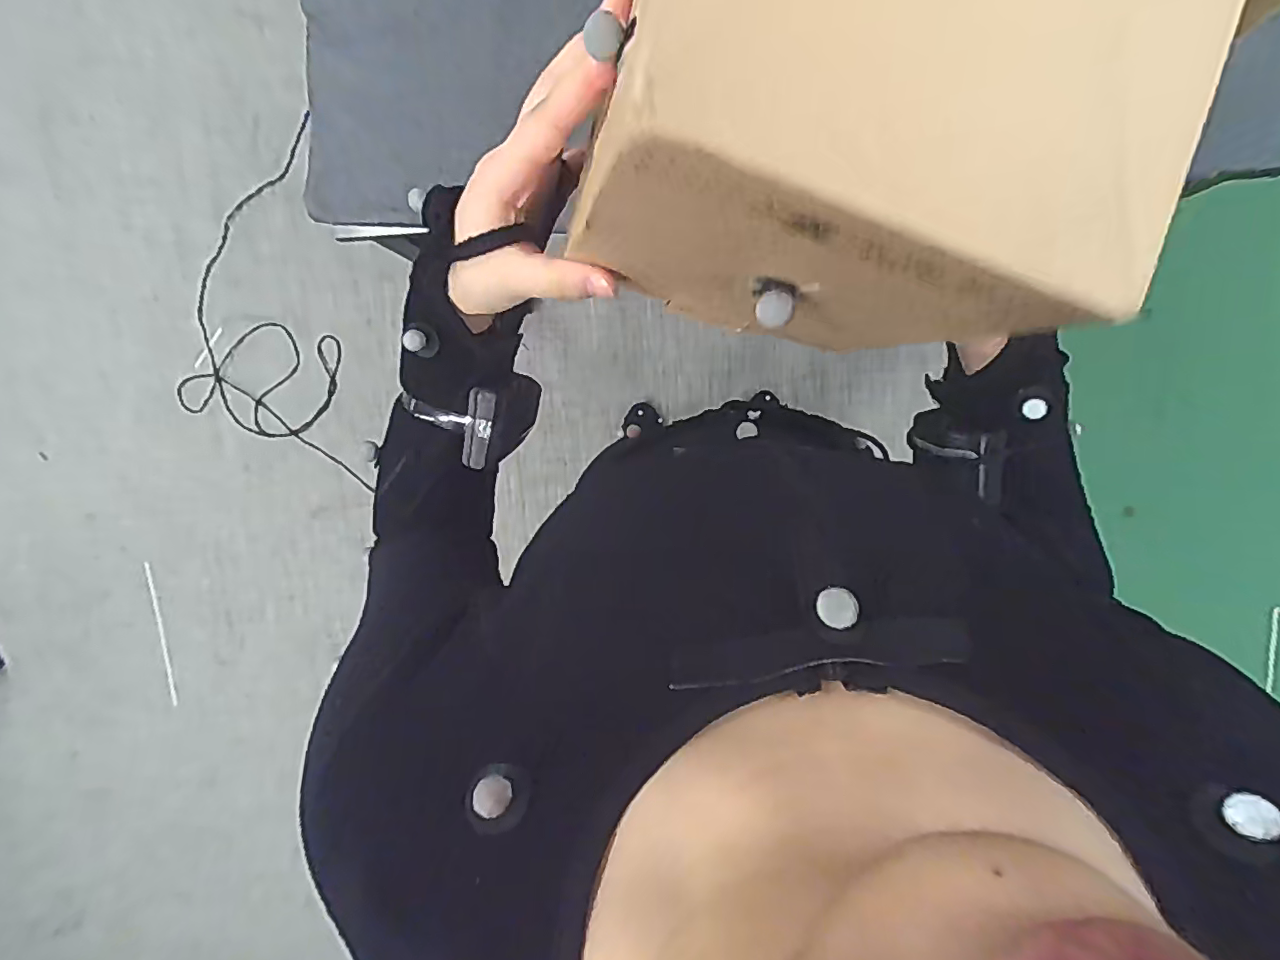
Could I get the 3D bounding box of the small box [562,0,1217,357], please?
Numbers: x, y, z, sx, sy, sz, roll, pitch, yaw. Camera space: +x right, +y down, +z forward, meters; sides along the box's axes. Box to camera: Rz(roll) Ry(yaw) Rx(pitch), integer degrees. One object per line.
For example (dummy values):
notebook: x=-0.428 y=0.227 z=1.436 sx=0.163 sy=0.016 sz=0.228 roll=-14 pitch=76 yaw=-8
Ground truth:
small box: x=0.073 y=-0.158 z=0.211 sx=0.168 sy=0.176 sz=0.179 roll=12 pitch=97 yaw=-16
